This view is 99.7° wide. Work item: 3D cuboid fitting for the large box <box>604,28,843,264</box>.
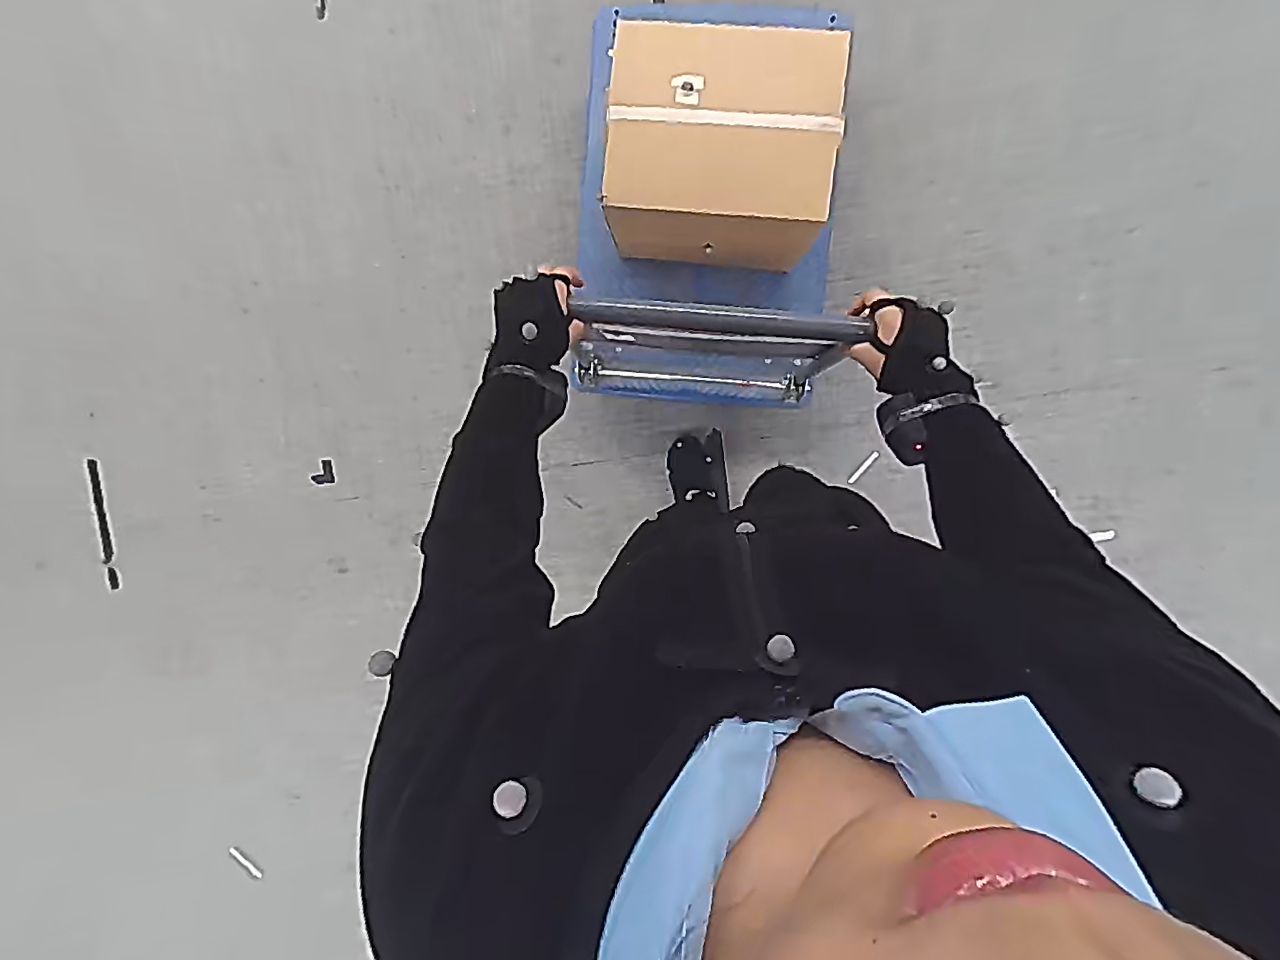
[{"bbox_3d":[0.159,-0.650,1.106,0.408,0.320,0.320,6,95,5],"label":"large box"}]
